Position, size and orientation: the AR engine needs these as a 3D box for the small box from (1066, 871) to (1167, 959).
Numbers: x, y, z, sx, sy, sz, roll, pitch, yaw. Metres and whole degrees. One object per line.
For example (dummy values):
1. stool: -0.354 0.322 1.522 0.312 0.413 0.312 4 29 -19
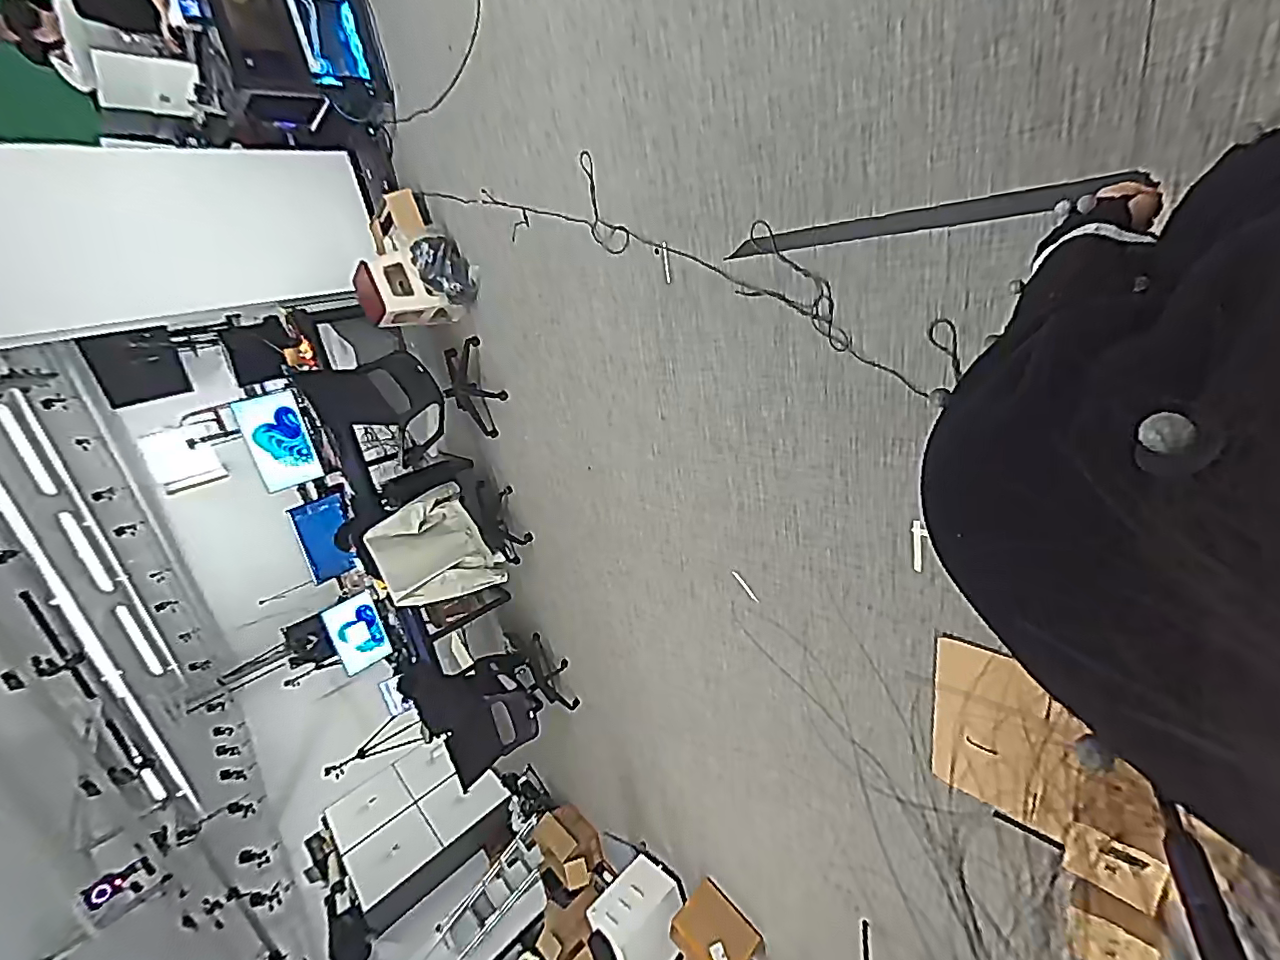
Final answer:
1. small box: 1.174 1.080 1.332 0.168 0.176 0.179 6 116 48

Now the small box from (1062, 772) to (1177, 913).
1. small box: 1.113 0.827 1.255 0.168 0.176 0.179 15 123 46

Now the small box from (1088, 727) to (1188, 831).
1. small box: 1.232 0.758 1.346 0.168 0.176 0.179 11 120 48
